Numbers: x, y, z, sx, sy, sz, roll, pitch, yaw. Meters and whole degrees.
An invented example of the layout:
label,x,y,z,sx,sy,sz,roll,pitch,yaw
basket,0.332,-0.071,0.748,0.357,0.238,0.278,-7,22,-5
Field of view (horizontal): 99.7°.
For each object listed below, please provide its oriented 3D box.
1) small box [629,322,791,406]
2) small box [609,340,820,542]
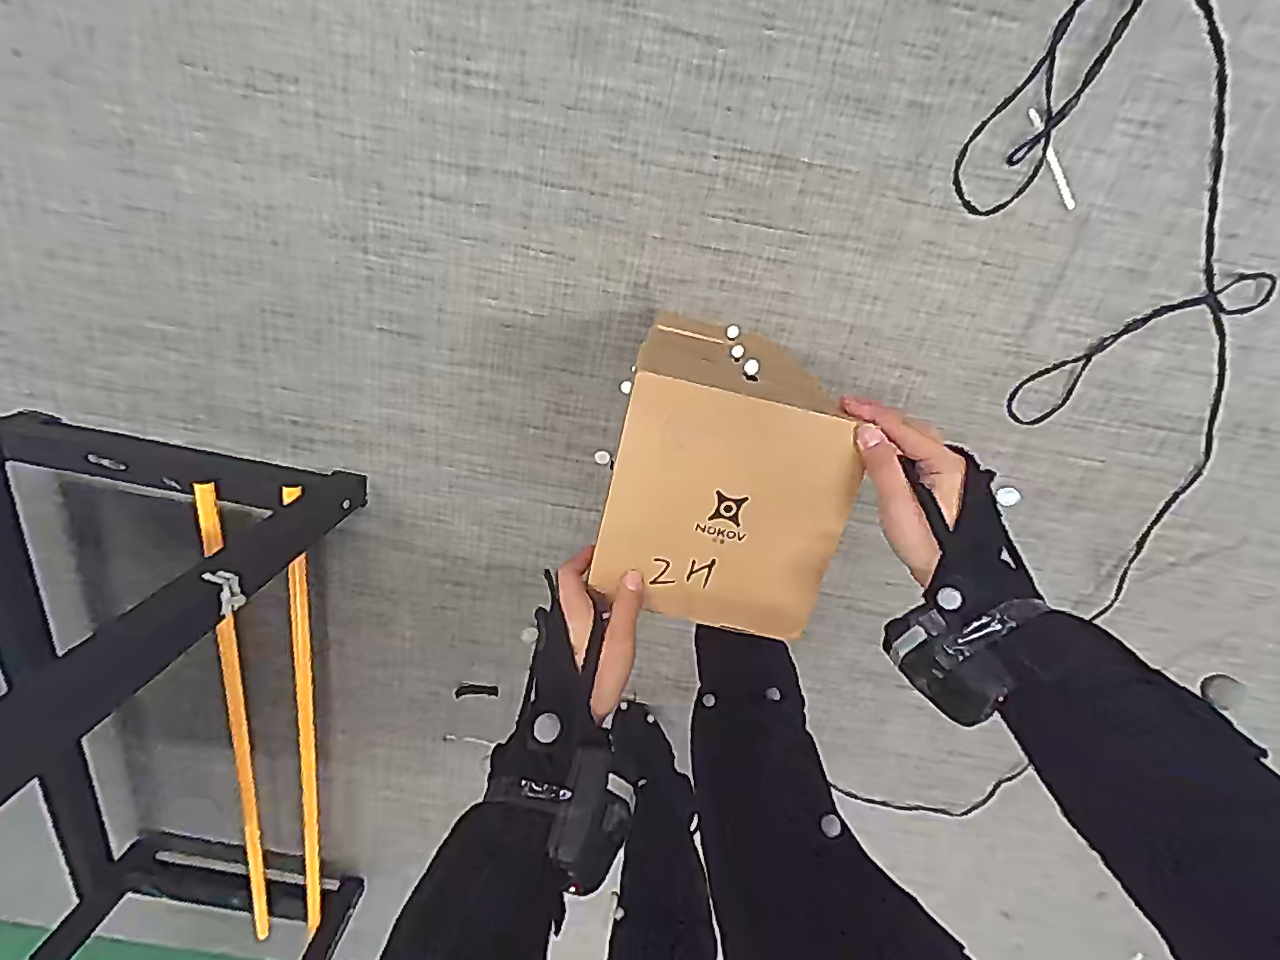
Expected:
label,x,y,z,sx,sy,sz,roll,pitch,yaw
small box,0.083,-0.116,0.755,0.179,0.176,0.168,14,110,-5
small box,0.072,-0.054,0.605,0.179,0.176,0.168,12,110,-1
